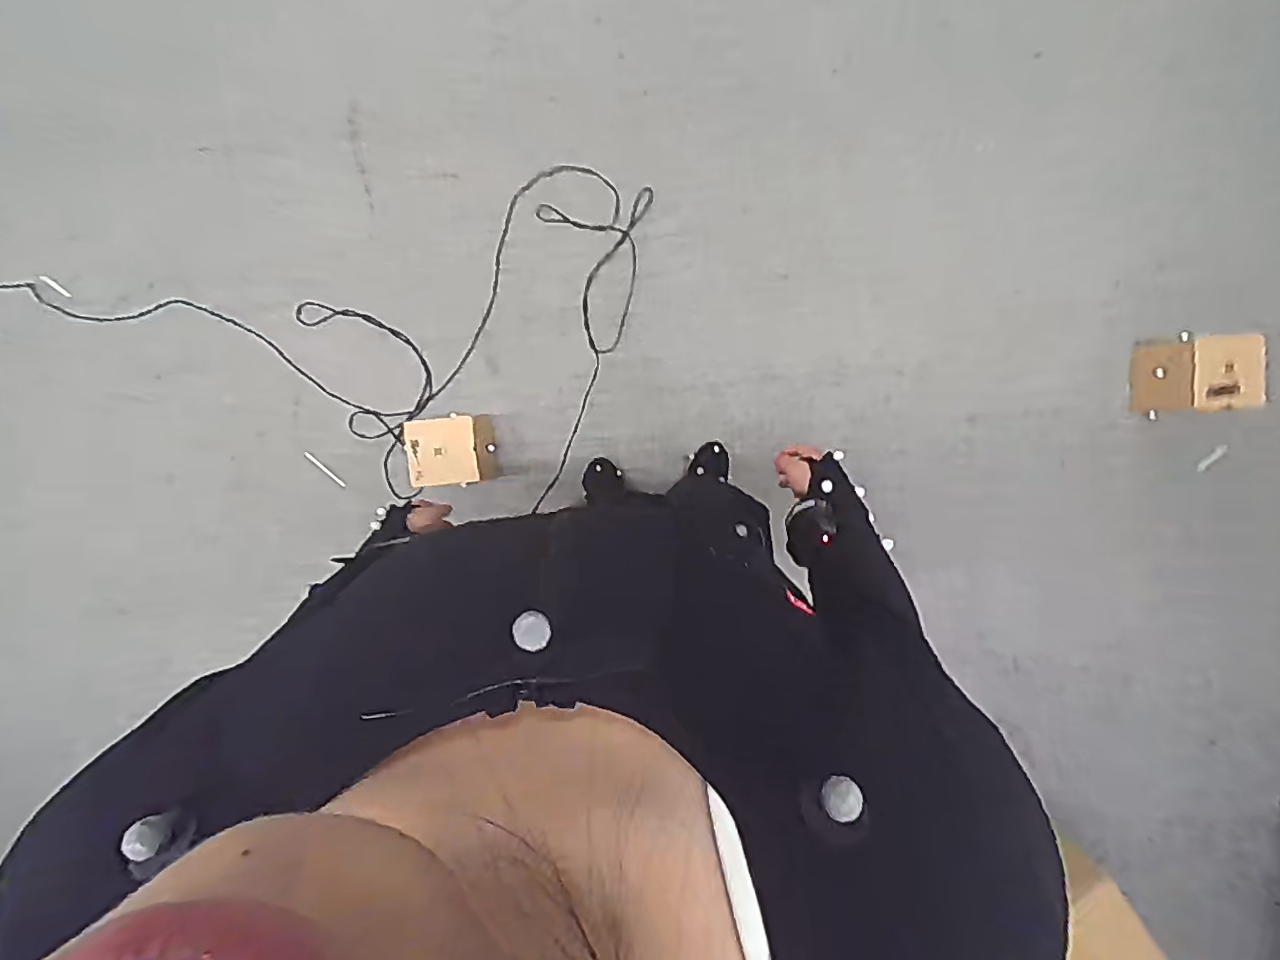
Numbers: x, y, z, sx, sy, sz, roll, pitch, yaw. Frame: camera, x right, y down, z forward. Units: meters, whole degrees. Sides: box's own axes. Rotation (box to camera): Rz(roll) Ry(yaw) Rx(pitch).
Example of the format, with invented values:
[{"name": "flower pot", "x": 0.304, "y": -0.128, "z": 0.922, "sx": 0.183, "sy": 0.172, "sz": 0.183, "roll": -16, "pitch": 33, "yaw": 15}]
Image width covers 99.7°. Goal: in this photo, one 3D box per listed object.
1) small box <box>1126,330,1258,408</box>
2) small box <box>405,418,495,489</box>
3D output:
[{"name": "small box", "x": 1.381, "y": -0.272, "z": 1.365, "sx": 0.168, "sy": 0.176, "sz": 0.179, "roll": -2, "pitch": 94, "yaw": 1}, {"name": "small box", "x": -0.484, "y": -0.072, "z": 1.408, "sx": 0.179, "sy": 0.176, "sz": 0.168, "roll": -6, "pitch": 94, "yaw": 1}]
